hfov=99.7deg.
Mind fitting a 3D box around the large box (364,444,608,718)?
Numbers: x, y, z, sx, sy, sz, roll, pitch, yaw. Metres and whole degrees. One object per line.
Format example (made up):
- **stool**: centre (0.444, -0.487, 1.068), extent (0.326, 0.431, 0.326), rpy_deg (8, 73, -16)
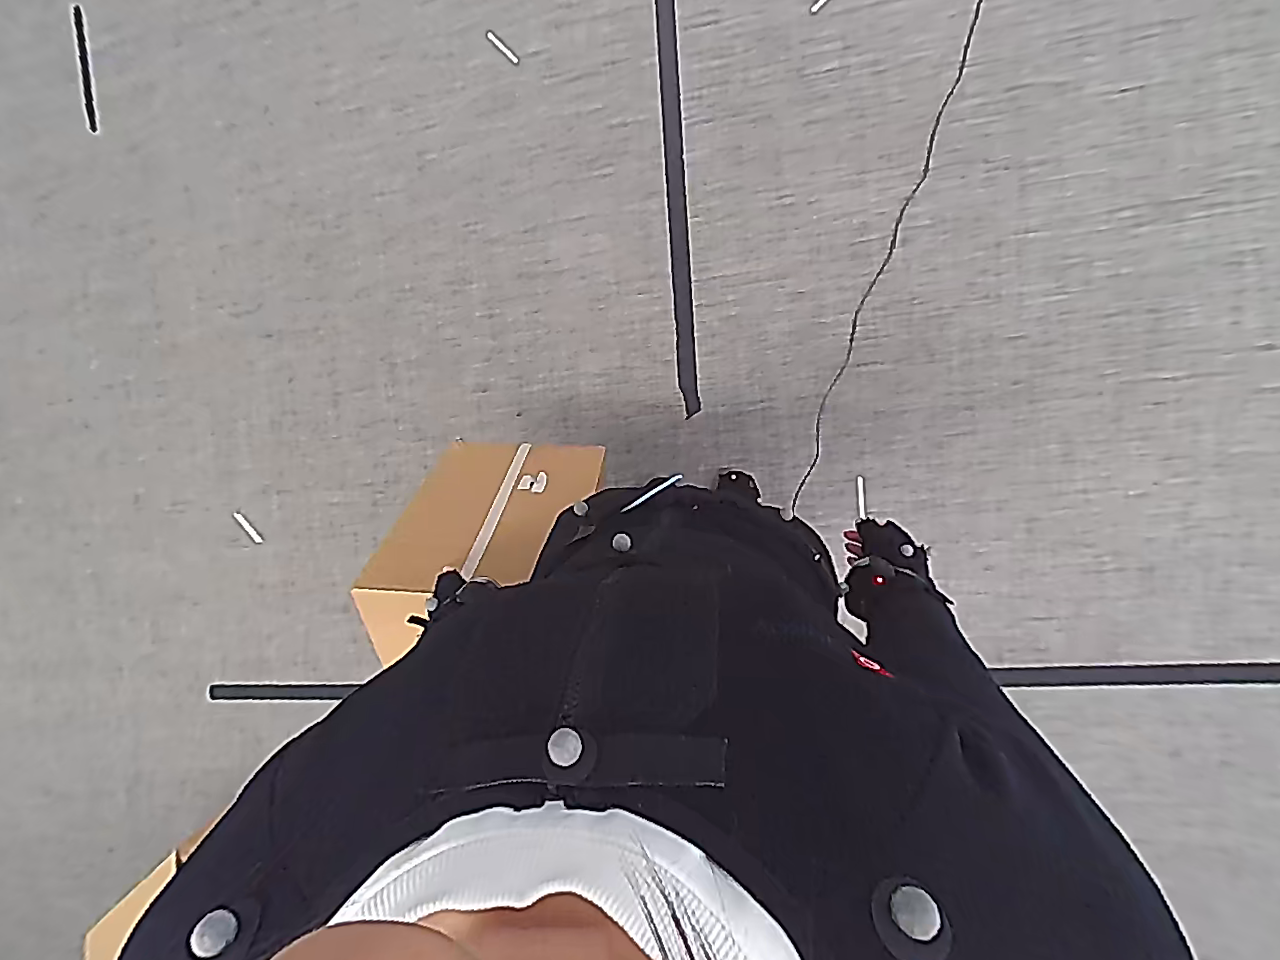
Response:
- **large box**: centre (-0.234, 0.172, 1.004), extent (0.320, 0.408, 0.320), rpy_deg (4, 124, 3)
